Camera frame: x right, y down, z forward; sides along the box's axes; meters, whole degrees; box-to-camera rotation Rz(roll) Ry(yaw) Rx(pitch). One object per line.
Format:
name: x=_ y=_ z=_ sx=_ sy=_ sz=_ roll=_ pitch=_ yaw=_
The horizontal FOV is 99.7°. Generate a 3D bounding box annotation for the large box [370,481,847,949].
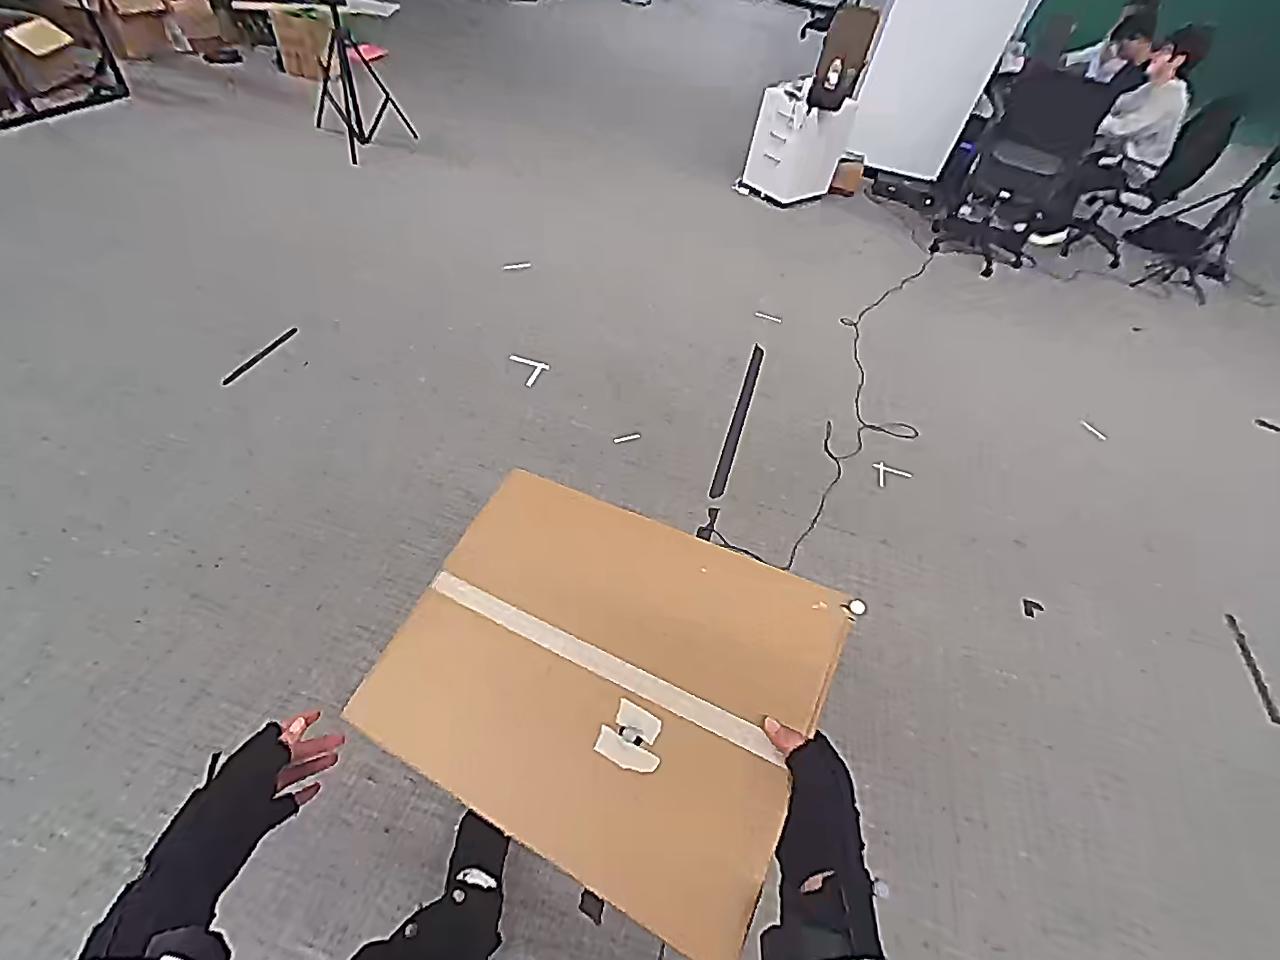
large box: x=-0.015 y=0.259 z=0.666 sx=0.408 sy=0.320 sz=0.320 roll=20 pitch=64 yaw=21
